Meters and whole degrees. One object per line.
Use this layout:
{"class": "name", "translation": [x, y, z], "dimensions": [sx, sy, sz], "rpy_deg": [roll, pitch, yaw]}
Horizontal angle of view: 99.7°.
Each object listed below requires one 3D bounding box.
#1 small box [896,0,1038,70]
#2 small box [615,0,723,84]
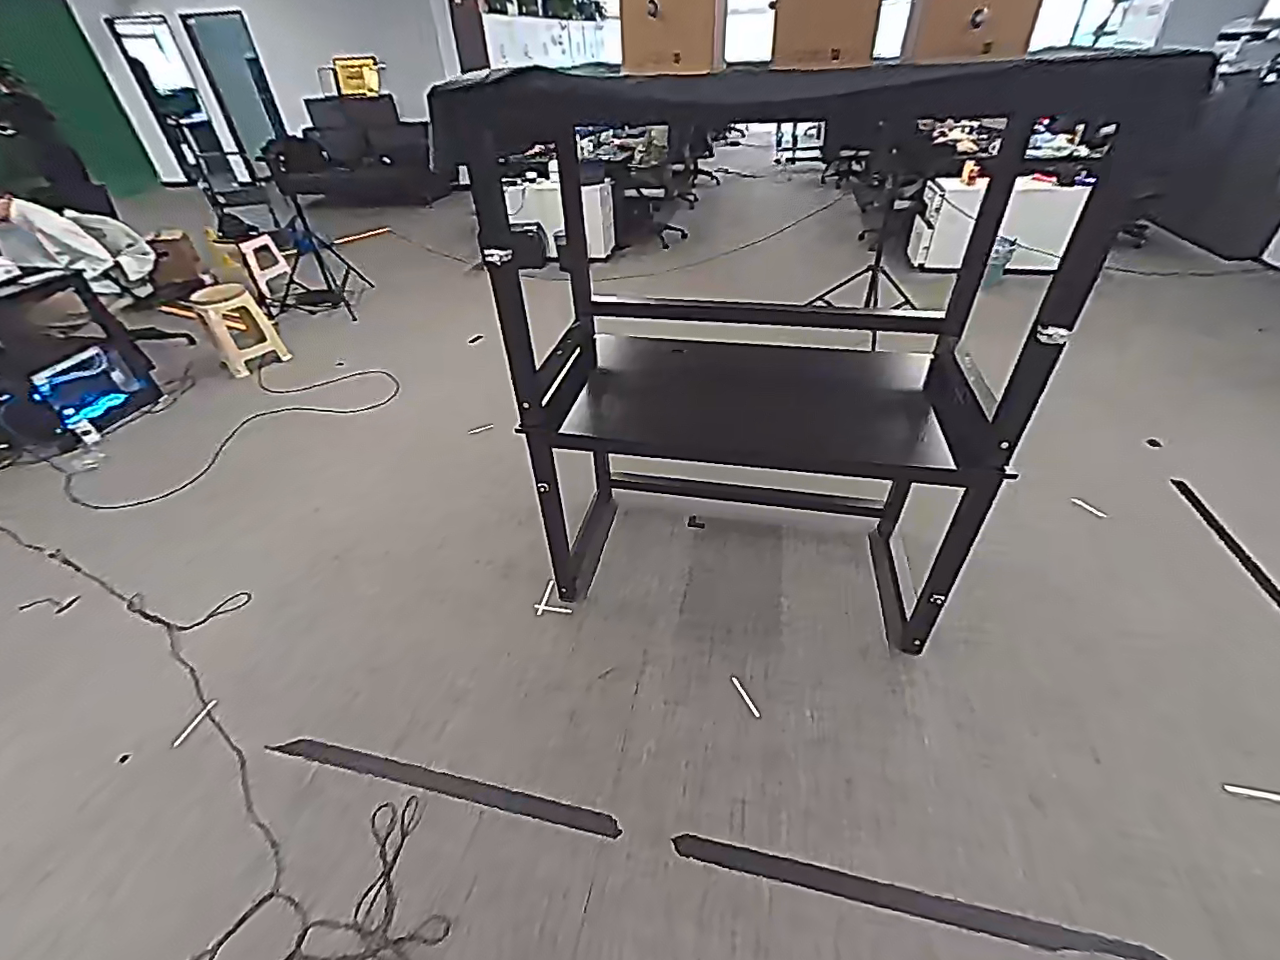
{"class": "small box", "translation": [0.523, -0.765, 0.866], "dimensions": [0.168, 0.176, 0.179], "rpy_deg": [6, 39, 12]}
{"class": "small box", "translation": [0.058, -0.824, 0.974], "dimensions": [0.168, 0.176, 0.179], "rpy_deg": [8, 38, 13]}
